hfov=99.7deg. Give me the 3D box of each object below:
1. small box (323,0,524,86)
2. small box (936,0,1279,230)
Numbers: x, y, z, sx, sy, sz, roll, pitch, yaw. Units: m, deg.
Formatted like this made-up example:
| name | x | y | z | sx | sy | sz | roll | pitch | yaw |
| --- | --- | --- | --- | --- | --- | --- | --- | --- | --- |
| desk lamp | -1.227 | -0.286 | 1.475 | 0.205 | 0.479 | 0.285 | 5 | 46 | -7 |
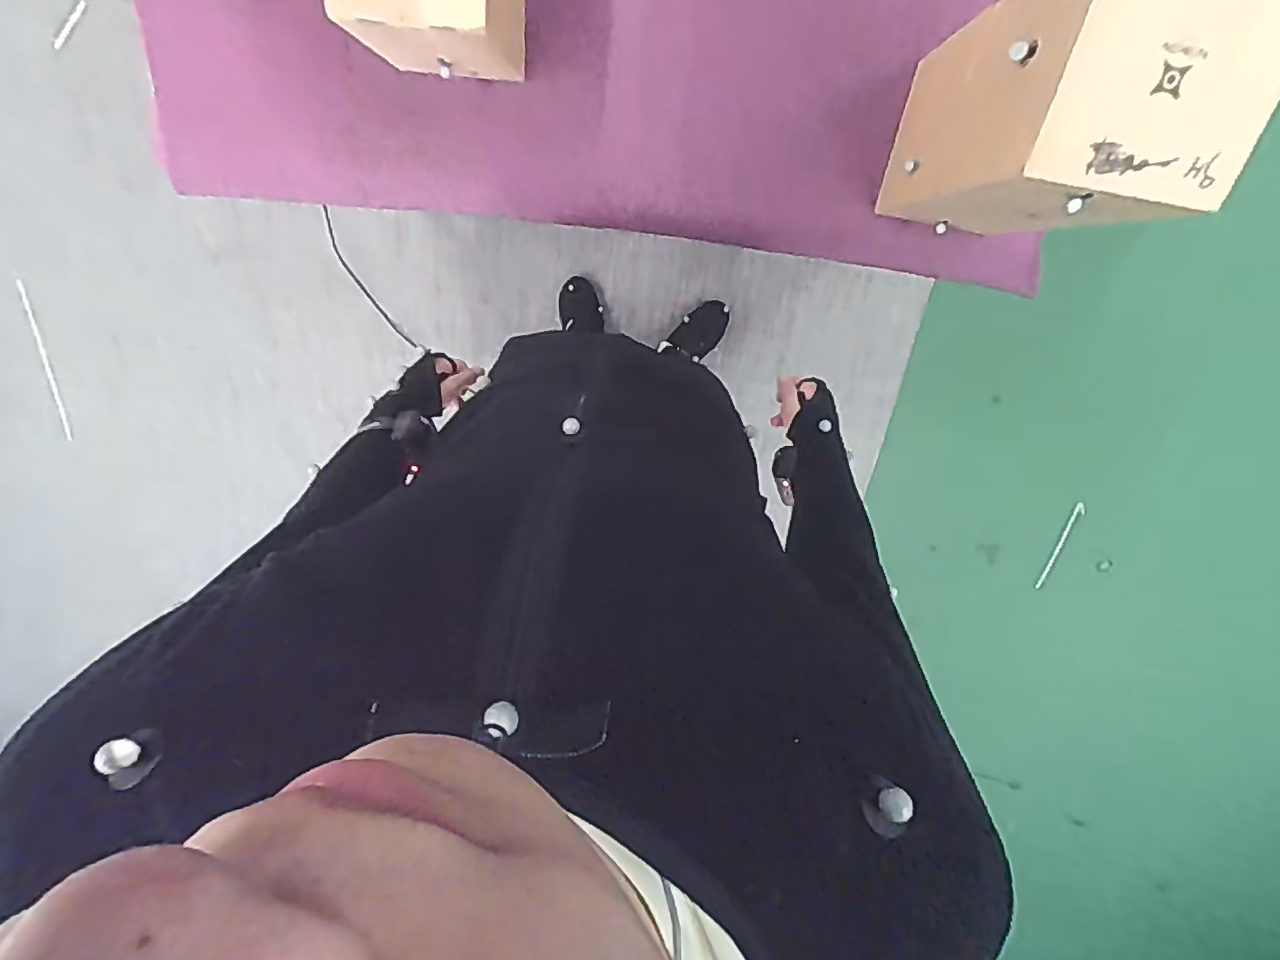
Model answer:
| name | x | y | z | sx | sy | sz | roll | pitch | yaw |
| --- | --- | --- | --- | --- | --- | --- | --- | --- | --- |
| small box | -0.227 | -0.567 | 0.591 | 0.168 | 0.176 | 0.179 | 6 | 113 | 0 |
| small box | 0.401 | -0.336 | 0.482 | 0.168 | 0.176 | 0.179 | 11 | 111 | -1 |
